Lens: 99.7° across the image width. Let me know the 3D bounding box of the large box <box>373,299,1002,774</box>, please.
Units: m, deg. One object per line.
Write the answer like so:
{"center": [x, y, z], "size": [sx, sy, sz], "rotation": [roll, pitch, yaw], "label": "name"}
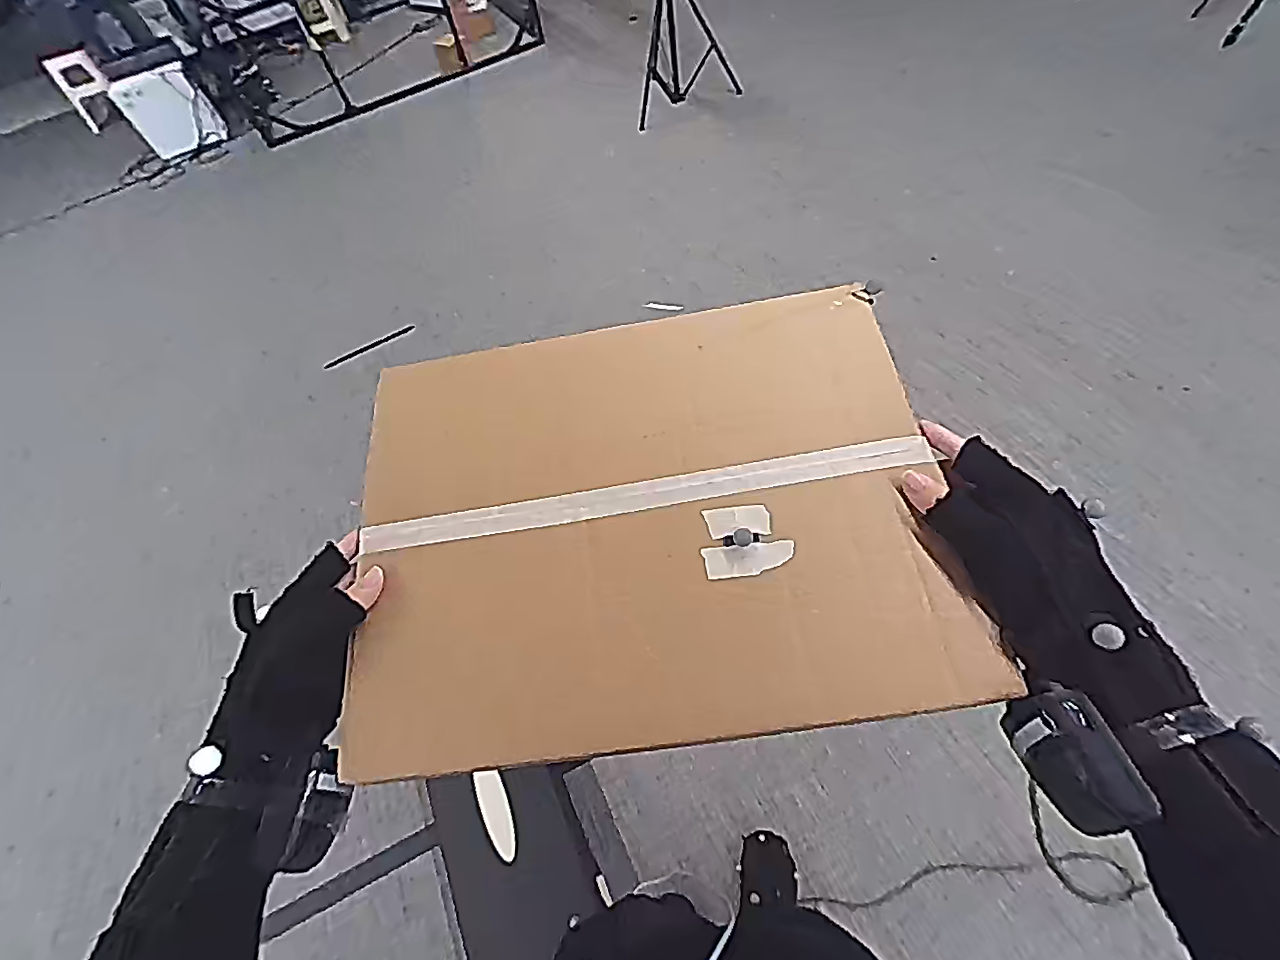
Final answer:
{"center": [0.021, 0.080, 0.530], "size": [0.408, 0.320, 0.320], "rotation": [-9, 64, 3], "label": "large box"}
